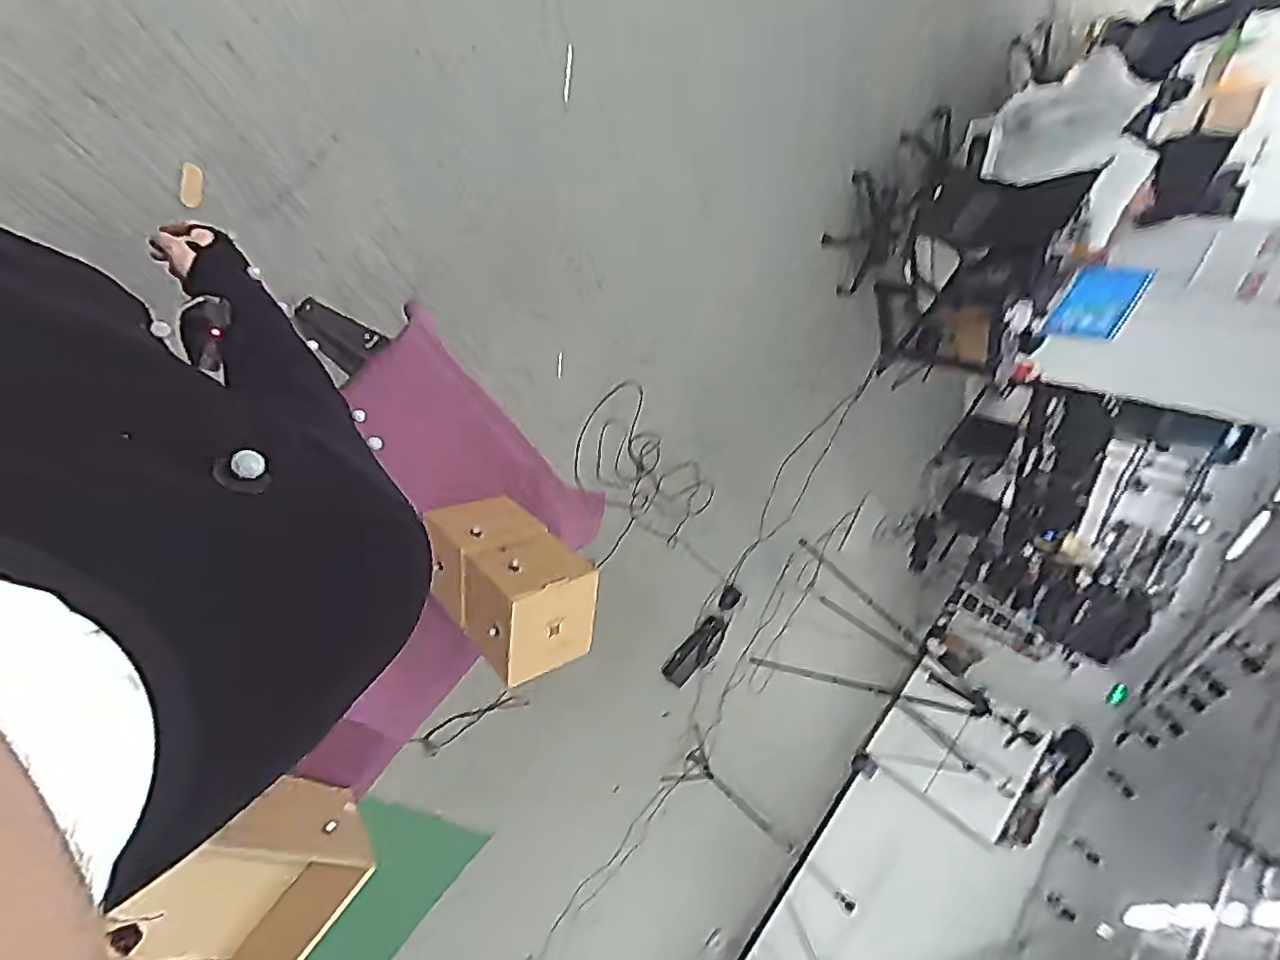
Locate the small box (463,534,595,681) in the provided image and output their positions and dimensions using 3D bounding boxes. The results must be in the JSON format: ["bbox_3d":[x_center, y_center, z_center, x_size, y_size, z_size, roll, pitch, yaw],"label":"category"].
[{"bbox_3d":[-0.200,0.209,0.953,0.168,0.176,0.179,-12,120,-40],"label":"small box"}]

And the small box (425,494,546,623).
[{"bbox_3d":[-0.307,0.143,1.056,0.179,0.176,0.168,-13,121,-41],"label":"small box"}]
